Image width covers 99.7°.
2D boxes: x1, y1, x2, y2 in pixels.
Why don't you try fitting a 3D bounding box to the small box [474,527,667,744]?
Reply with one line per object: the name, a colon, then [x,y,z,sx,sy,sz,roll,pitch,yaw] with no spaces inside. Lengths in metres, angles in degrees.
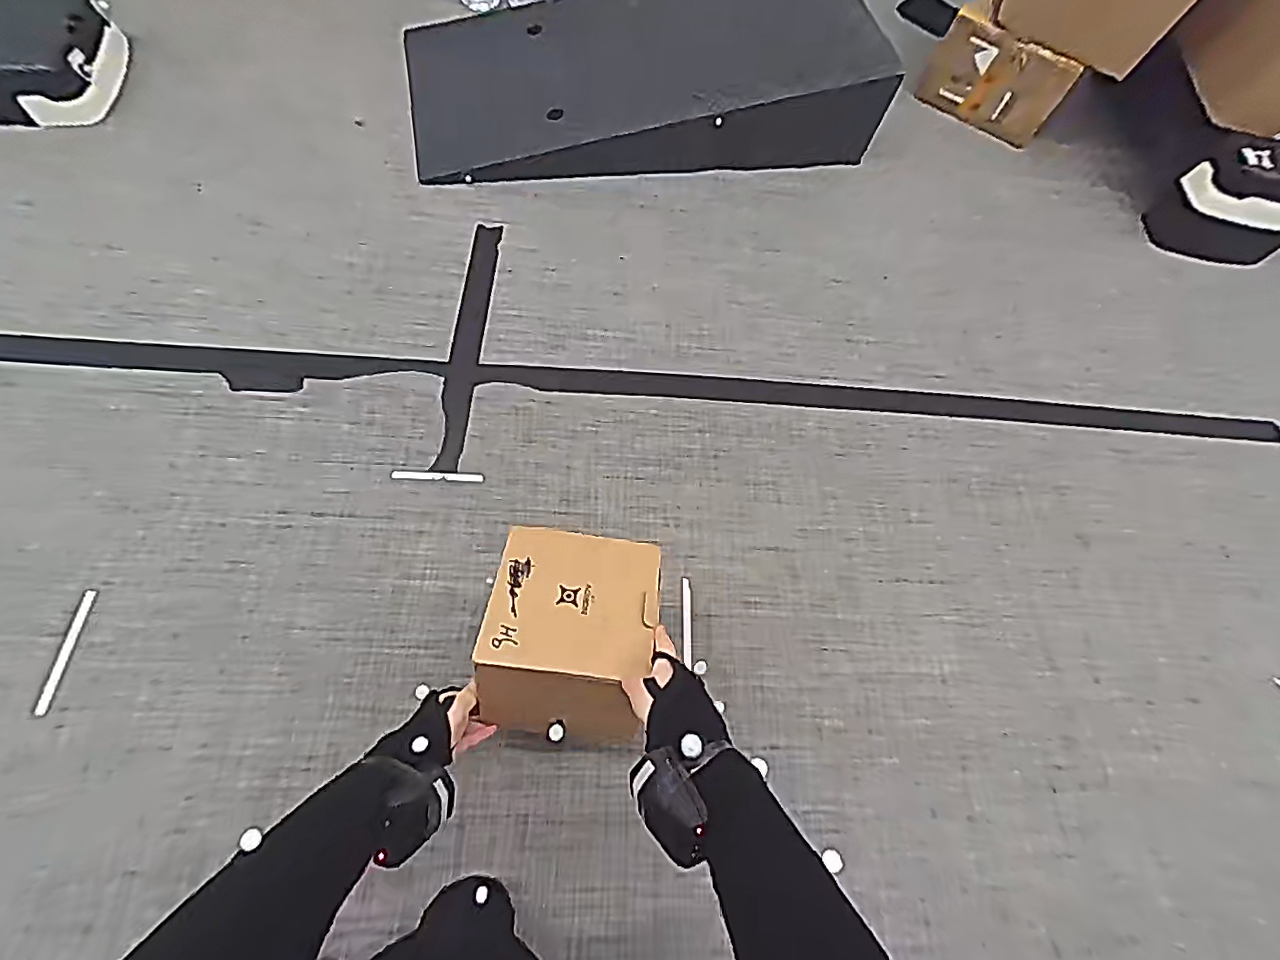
small box: [-0.075,0.181,0.613,0.179,0.176,0.168,11,45,-3]
